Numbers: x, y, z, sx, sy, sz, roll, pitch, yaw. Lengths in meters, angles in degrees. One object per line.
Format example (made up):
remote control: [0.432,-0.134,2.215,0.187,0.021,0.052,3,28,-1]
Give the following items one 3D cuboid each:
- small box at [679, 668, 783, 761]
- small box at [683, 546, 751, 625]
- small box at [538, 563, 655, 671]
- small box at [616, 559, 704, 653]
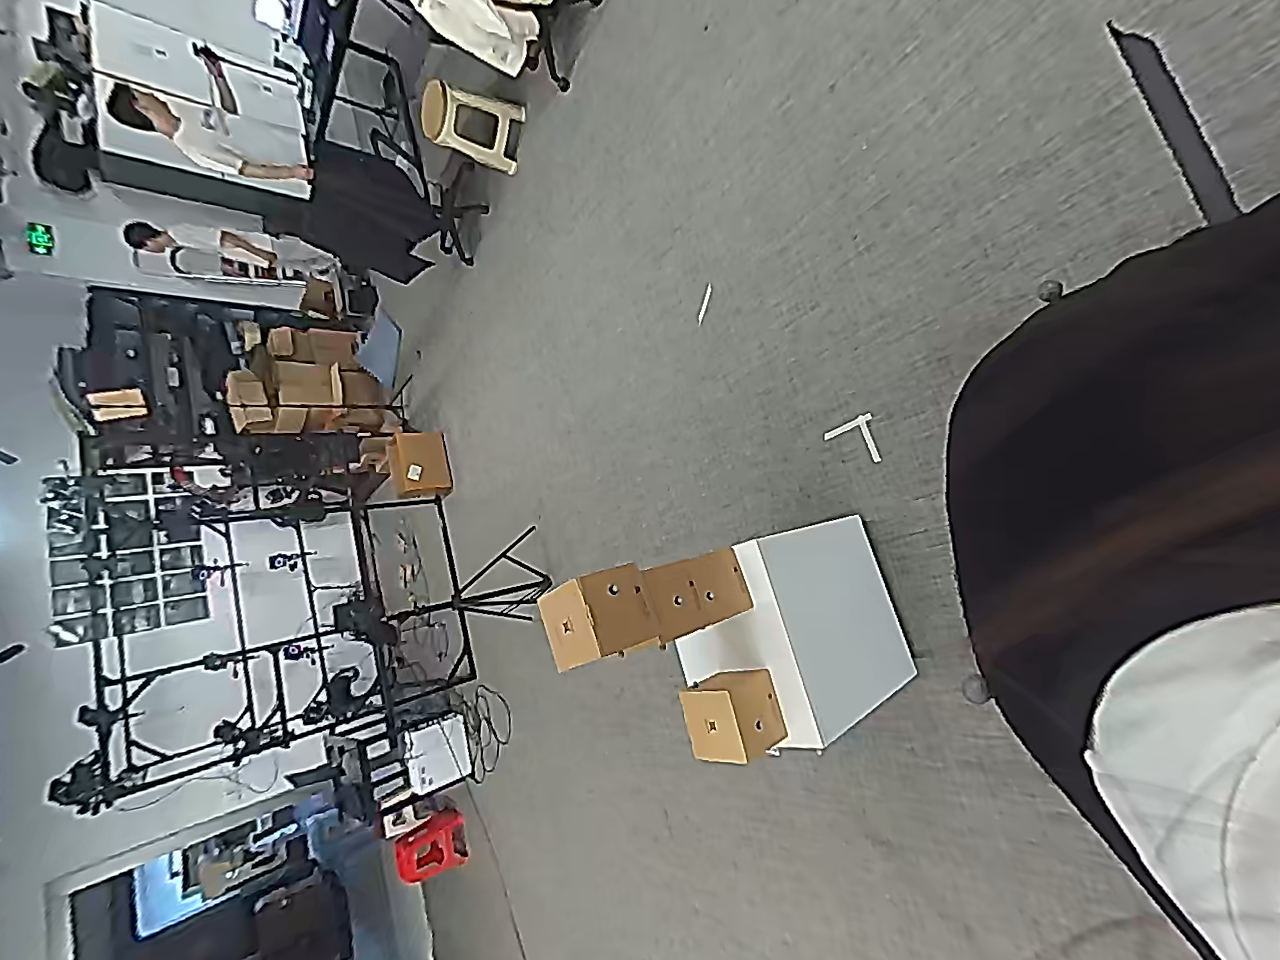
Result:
small box: [0.231,0.574,1.341,0.179,0.176,0.168,-27,74,47]
small box: [0.152,0.279,1.389,0.179,0.176,0.168,-31,73,46]
small box: [-0.087,0.291,1.165,0.179,0.176,0.168,-36,68,45]
small box: [0.030,0.294,1.279,0.179,0.176,0.168,-30,73,46]
